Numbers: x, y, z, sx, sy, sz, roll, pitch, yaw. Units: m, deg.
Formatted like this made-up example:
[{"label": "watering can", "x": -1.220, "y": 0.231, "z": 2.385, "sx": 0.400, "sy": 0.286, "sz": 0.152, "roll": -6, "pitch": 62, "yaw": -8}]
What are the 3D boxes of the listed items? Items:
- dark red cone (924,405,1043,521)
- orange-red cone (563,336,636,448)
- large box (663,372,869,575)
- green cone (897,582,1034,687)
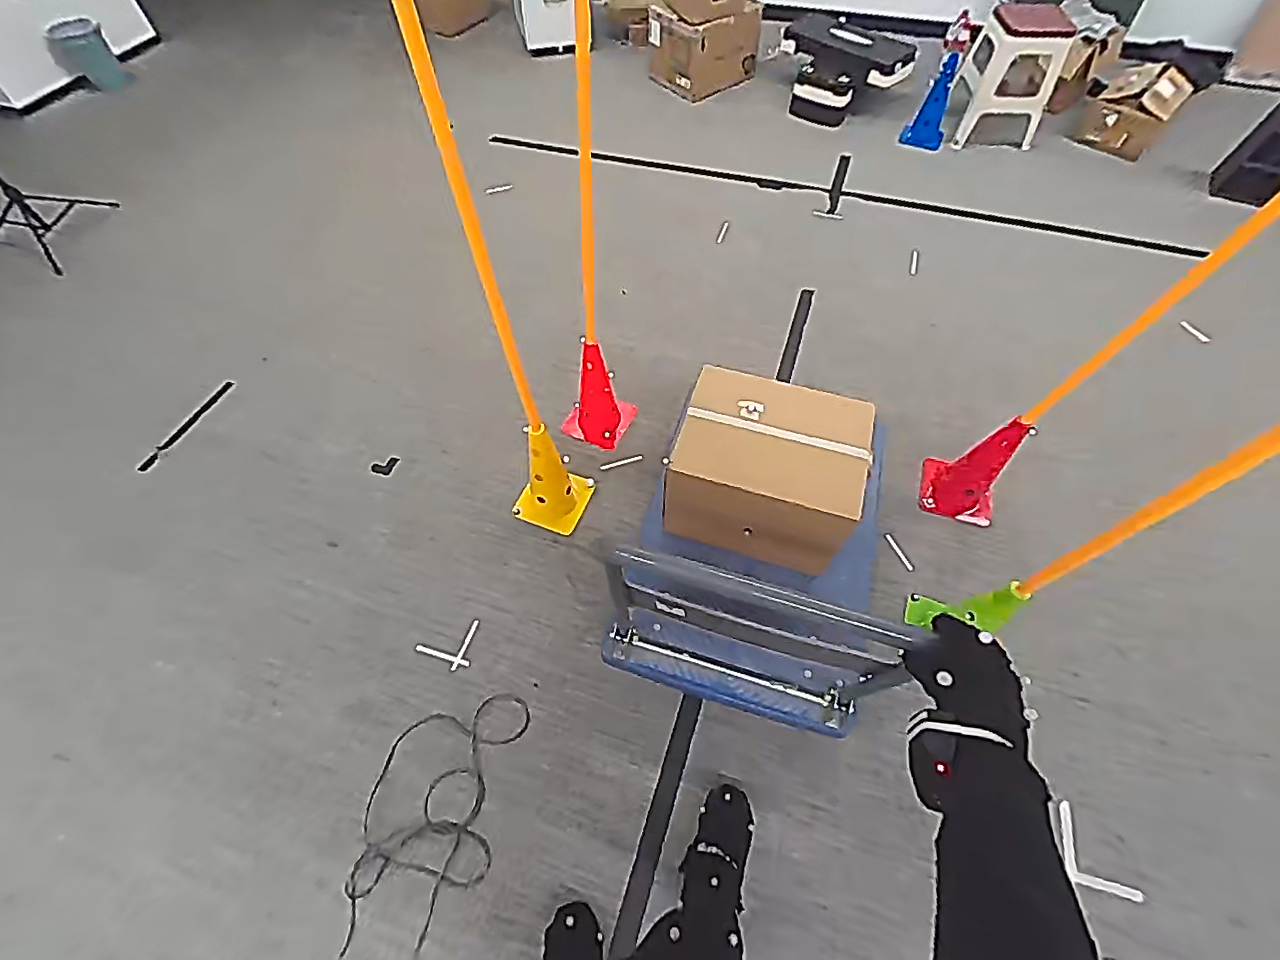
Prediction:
[{"label": "dark red cone", "x": 0.965, "y": -0.068, "z": 1.492, "sx": 0.201, "sy": 0.394, "sz": 0.202, "roll": 17, "pitch": 60, "yaw": 9}, {"label": "orange-red cone", "x": -0.132, "y": -0.300, "z": 1.666, "sx": 0.198, "sy": 0.360, "sz": 0.199, "roll": 23, "pitch": 60, "yaw": 13}, {"label": "large box", "x": 0.291, "y": -0.009, "z": 1.312, "sx": 0.408, "sy": 0.320, "sz": 0.320, "roll": 16, "pitch": 60, "yaw": 11}, {"label": "green cone", "x": 0.786, "y": 0.325, "z": 1.269, "sx": 0.202, "sy": 0.368, "sz": 0.200, "roll": 20, "pitch": 60, "yaw": 11}]
